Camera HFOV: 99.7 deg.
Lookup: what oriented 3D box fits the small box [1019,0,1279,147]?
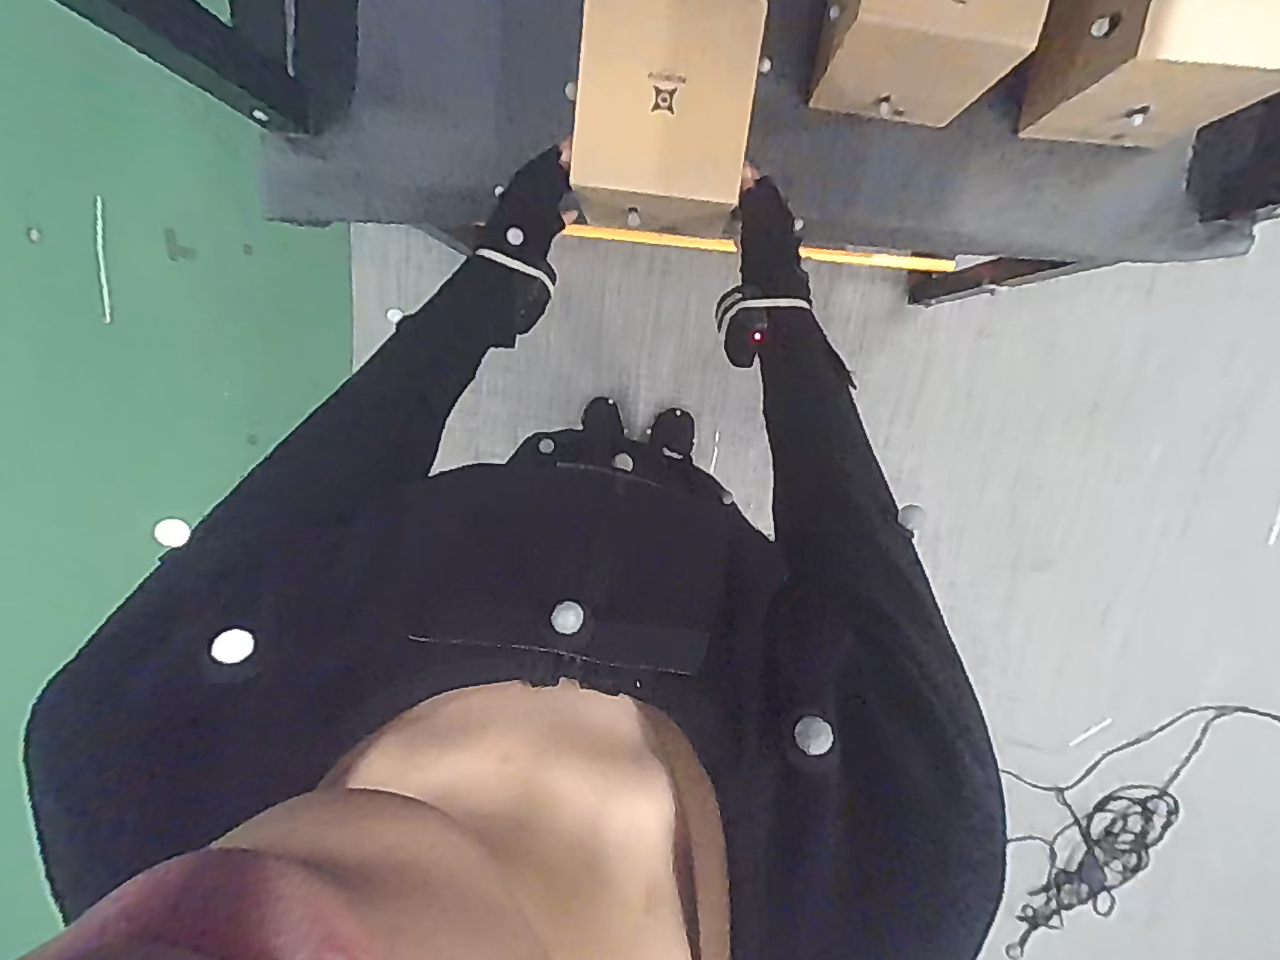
[{"bbox_3d":[0.532,-0.469,0.552,0.168,0.176,0.179,5,101,0],"label":"small box"}]

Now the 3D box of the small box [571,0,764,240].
[{"bbox_3d":[0.025,-0.375,0.586,0.168,0.176,0.179,7,102,0],"label":"small box"}]
